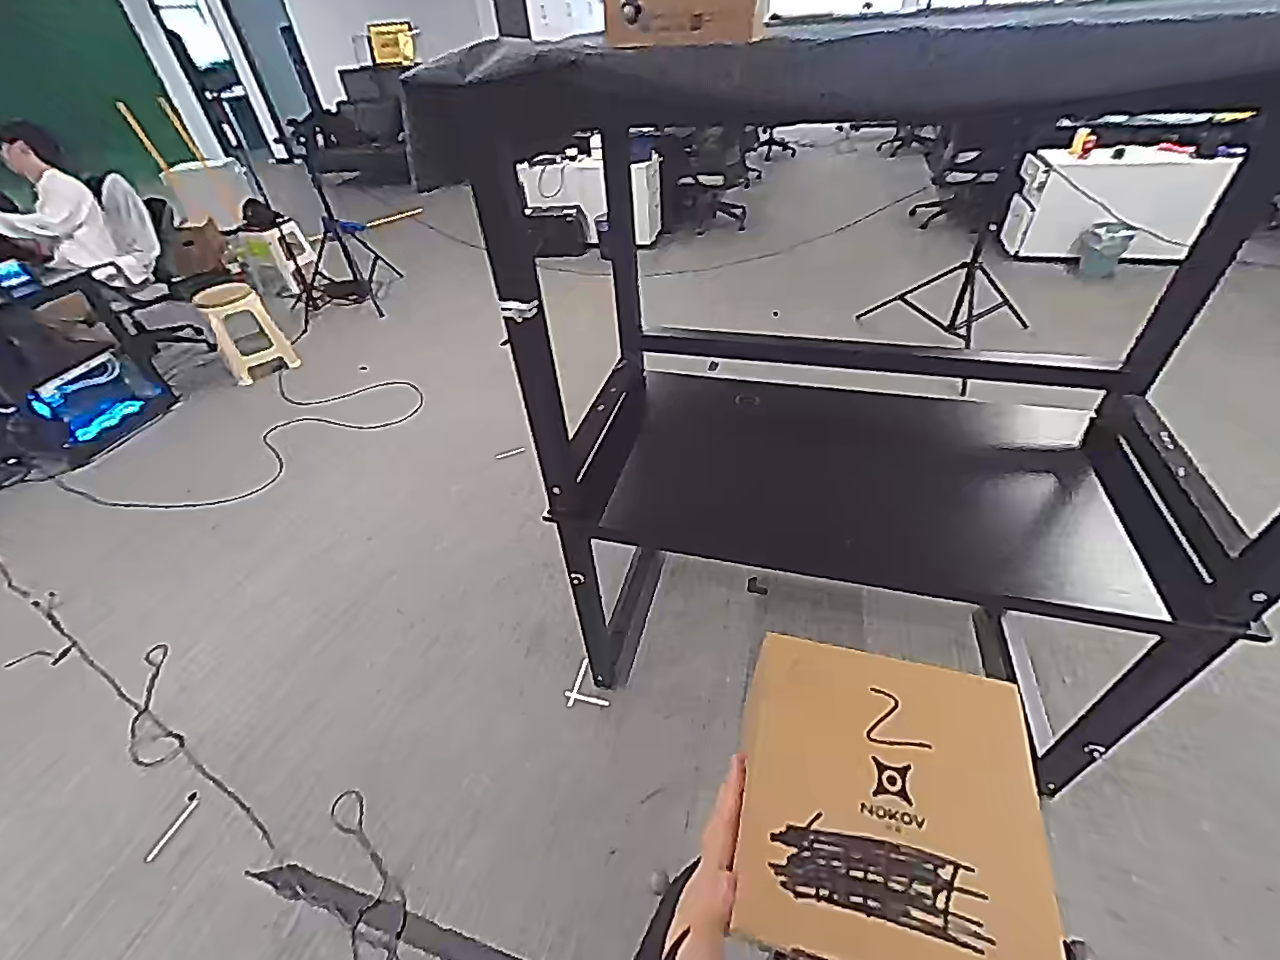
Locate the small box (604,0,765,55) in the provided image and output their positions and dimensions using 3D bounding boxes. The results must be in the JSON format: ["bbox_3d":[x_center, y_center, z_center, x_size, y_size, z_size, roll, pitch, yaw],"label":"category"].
[{"bbox_3d":[0.055,-0.582,0.598,0.168,0.176,0.179,7,40,11],"label":"small box"}]
